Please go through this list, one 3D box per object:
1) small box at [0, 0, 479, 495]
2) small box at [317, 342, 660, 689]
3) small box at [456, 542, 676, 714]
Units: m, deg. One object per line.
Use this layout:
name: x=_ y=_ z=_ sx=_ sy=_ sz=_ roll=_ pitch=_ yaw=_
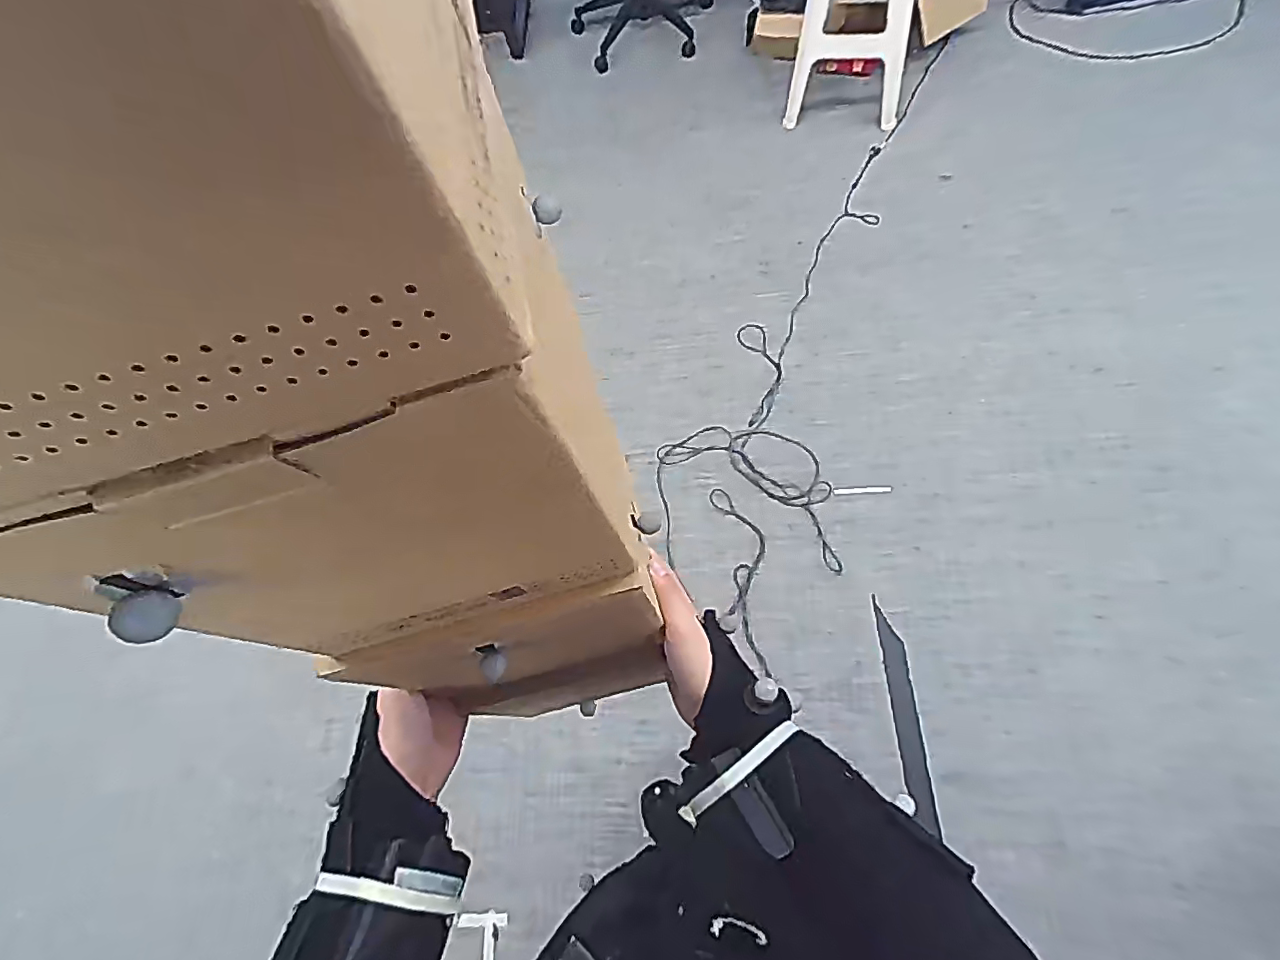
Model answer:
small box: x=-0.138 y=-0.108 z=0.088 sx=0.179 sy=0.176 sz=0.168 roll=-16 pitch=63 yaw=2
small box: x=-0.089 y=0.039 z=0.379 sx=0.179 sy=0.176 sz=0.168 roll=-16 pitch=64 yaw=2
small box: x=-0.068 y=0.115 z=0.521 sx=0.168 sy=0.176 sz=0.179 roll=-16 pitch=65 yaw=2
